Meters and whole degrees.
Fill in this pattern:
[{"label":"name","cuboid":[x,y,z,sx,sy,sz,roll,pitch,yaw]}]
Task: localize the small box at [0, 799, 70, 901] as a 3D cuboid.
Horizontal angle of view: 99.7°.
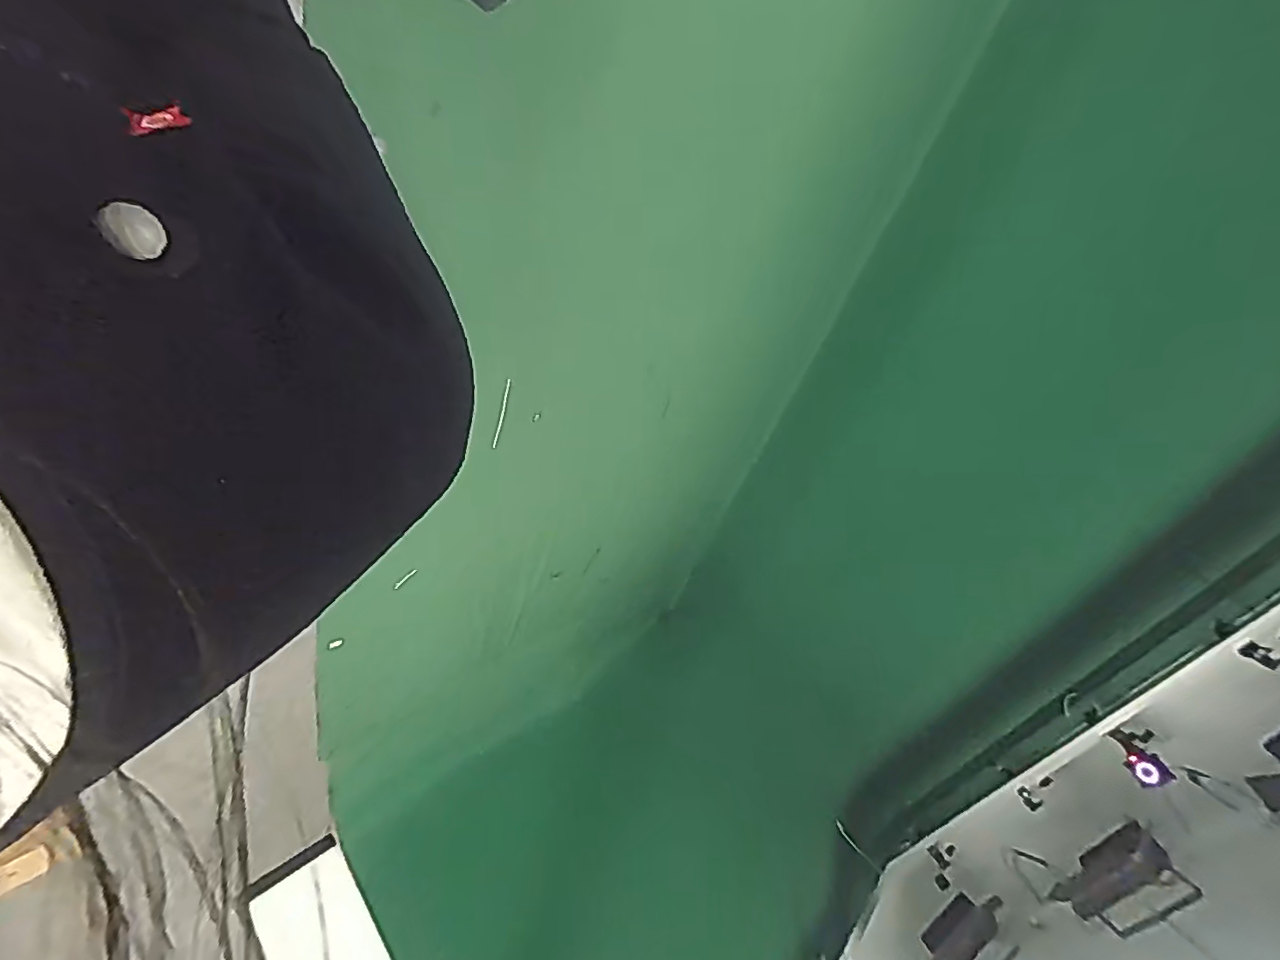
[{"label":"small box","cuboid":[-1.887,1.124,1.640,0.179,0.176,0.168,-19,141,-43]}]
